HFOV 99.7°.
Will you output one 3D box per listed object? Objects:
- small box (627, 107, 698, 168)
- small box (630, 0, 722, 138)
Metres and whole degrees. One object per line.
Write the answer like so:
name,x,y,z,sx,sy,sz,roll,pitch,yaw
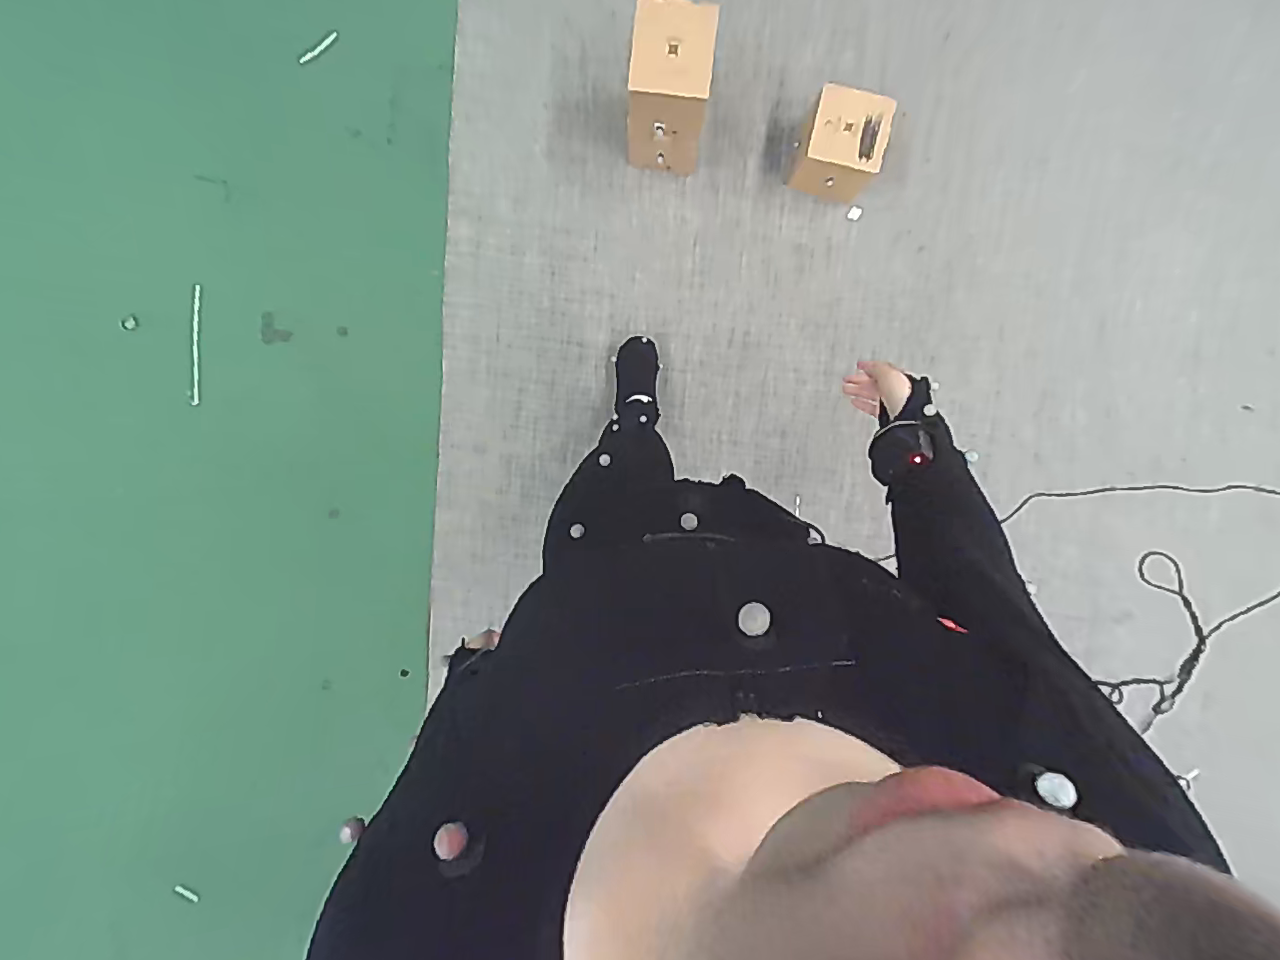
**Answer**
small box,0.067,-0.886,1.303,0.168,0.176,0.179,10,98,-1
small box,0.070,-0.864,1.142,0.168,0.176,0.179,6,98,1
